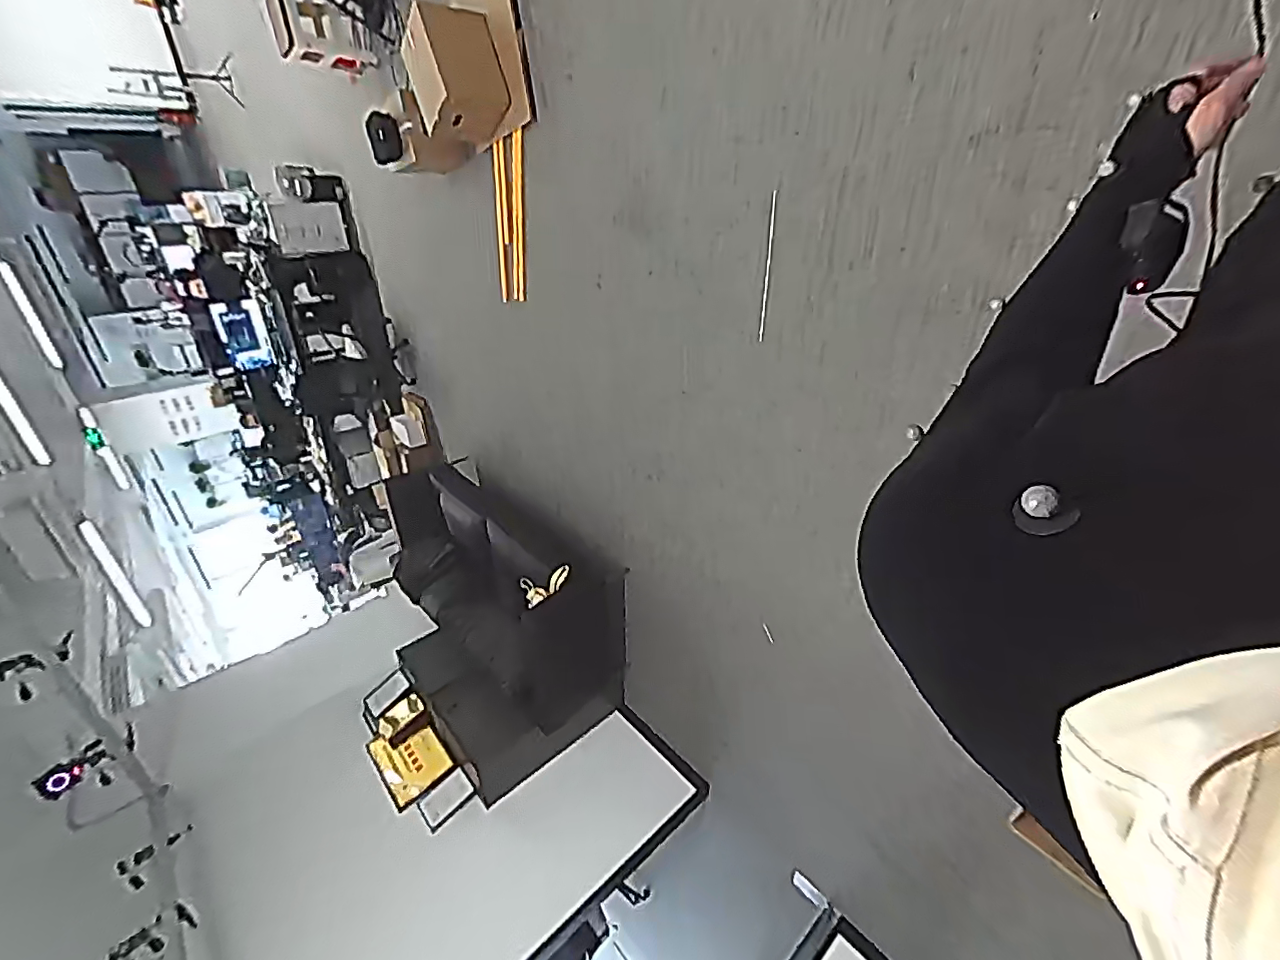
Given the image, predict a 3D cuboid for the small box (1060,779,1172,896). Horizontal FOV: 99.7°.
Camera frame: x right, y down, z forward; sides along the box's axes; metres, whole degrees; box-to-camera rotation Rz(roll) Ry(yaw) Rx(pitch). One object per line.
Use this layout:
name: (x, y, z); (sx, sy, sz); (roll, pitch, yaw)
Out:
small box: (1.290, 0.959, 1.464); (0.168, 0.176, 0.179); (32, 134, 38)
